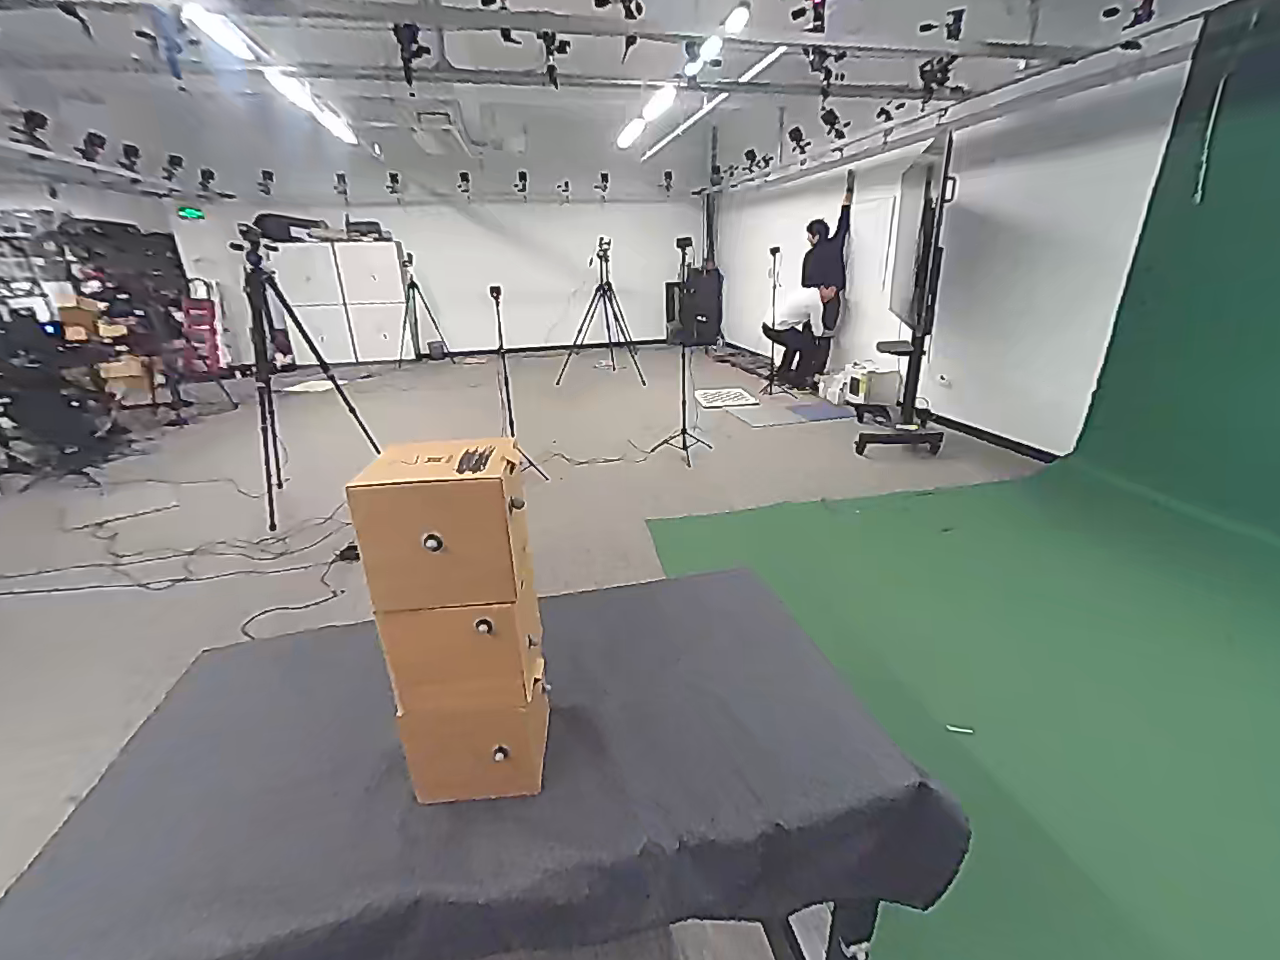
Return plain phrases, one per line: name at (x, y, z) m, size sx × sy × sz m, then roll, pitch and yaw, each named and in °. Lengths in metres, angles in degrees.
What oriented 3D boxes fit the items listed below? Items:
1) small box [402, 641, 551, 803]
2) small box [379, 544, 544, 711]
small box at (-0.233, 0.359, 0.825) m, size 0.179 × 0.176 × 0.168 m, roll -4°, pitch 21°, yaw -3°
small box at (-0.239, 0.206, 0.770) m, size 0.179 × 0.176 × 0.168 m, roll -2°, pitch 21°, yaw -3°
